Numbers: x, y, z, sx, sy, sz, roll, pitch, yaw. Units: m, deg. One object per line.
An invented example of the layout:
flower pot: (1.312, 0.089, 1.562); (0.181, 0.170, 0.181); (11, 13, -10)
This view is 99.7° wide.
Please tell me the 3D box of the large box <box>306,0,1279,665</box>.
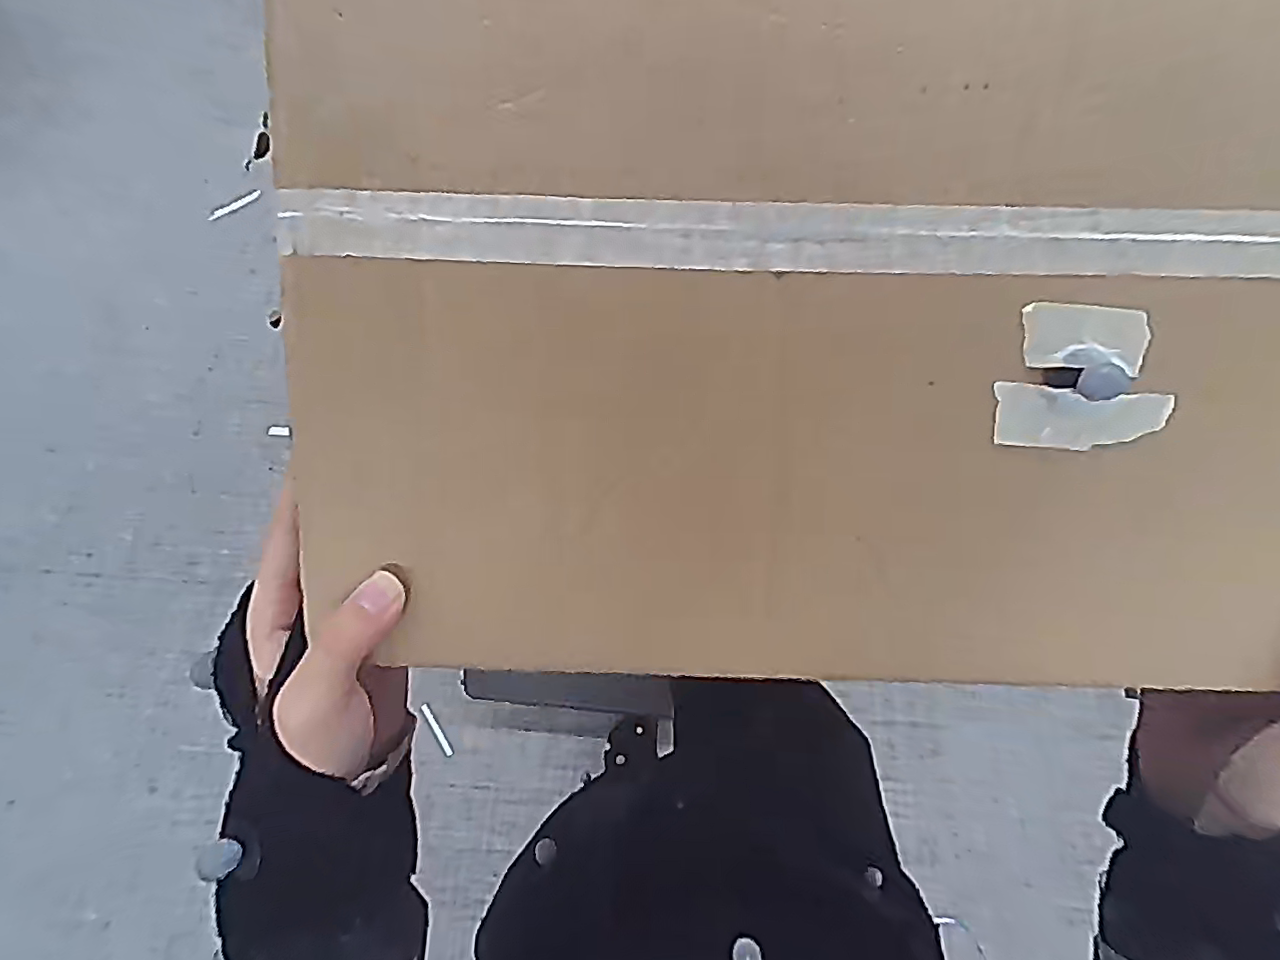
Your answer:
large box: (0.079, -0.096, 0.343); (0.408, 0.320, 0.320); (1, 97, -1)
